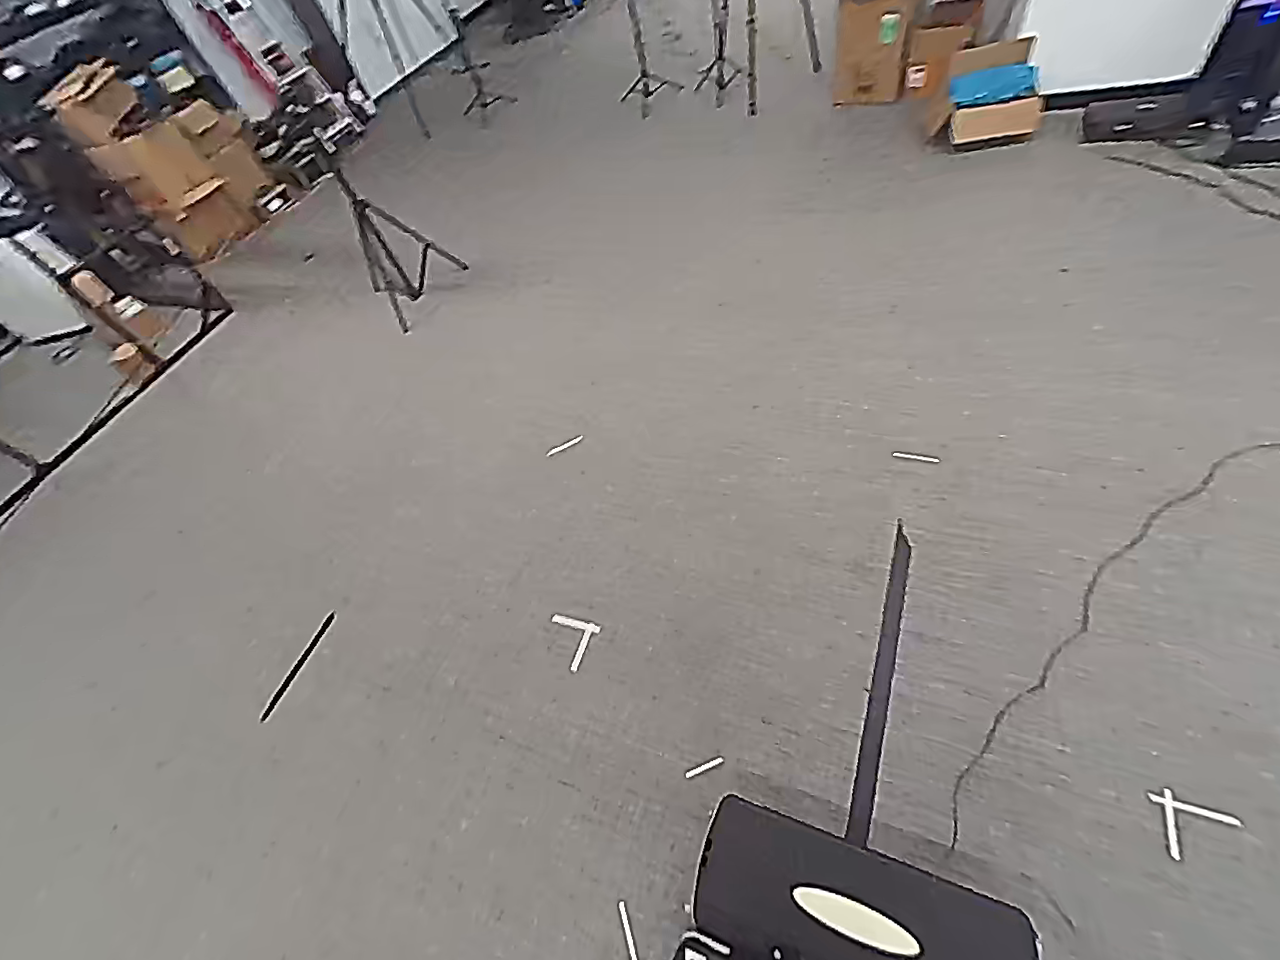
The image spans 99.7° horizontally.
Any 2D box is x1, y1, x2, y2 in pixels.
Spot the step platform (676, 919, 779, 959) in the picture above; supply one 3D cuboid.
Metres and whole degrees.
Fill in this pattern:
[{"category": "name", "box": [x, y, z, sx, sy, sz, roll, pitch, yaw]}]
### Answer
[{"category": "step platform", "box": [0.368, 1.122, 0.996, 0.684, 0.204, 0.286, 9, 56, 23]}]
